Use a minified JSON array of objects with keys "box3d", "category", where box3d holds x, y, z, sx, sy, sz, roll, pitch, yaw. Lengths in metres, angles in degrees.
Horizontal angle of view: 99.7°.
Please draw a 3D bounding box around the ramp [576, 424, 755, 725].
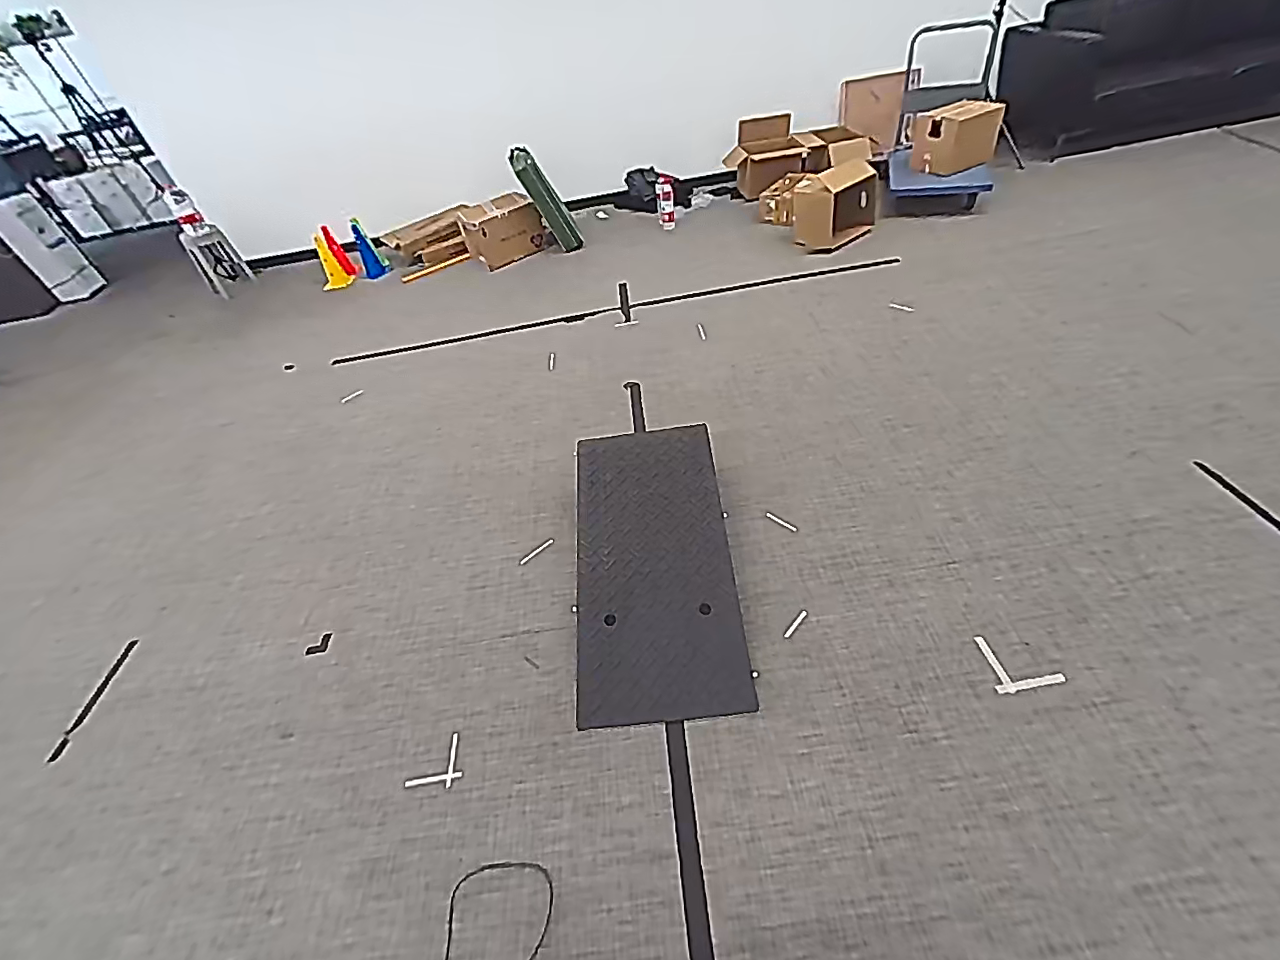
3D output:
[{"box3d":[0.036,0.230,1.733,0.509,0.206,0.991,-8,44,2],"category":"ramp"}]
